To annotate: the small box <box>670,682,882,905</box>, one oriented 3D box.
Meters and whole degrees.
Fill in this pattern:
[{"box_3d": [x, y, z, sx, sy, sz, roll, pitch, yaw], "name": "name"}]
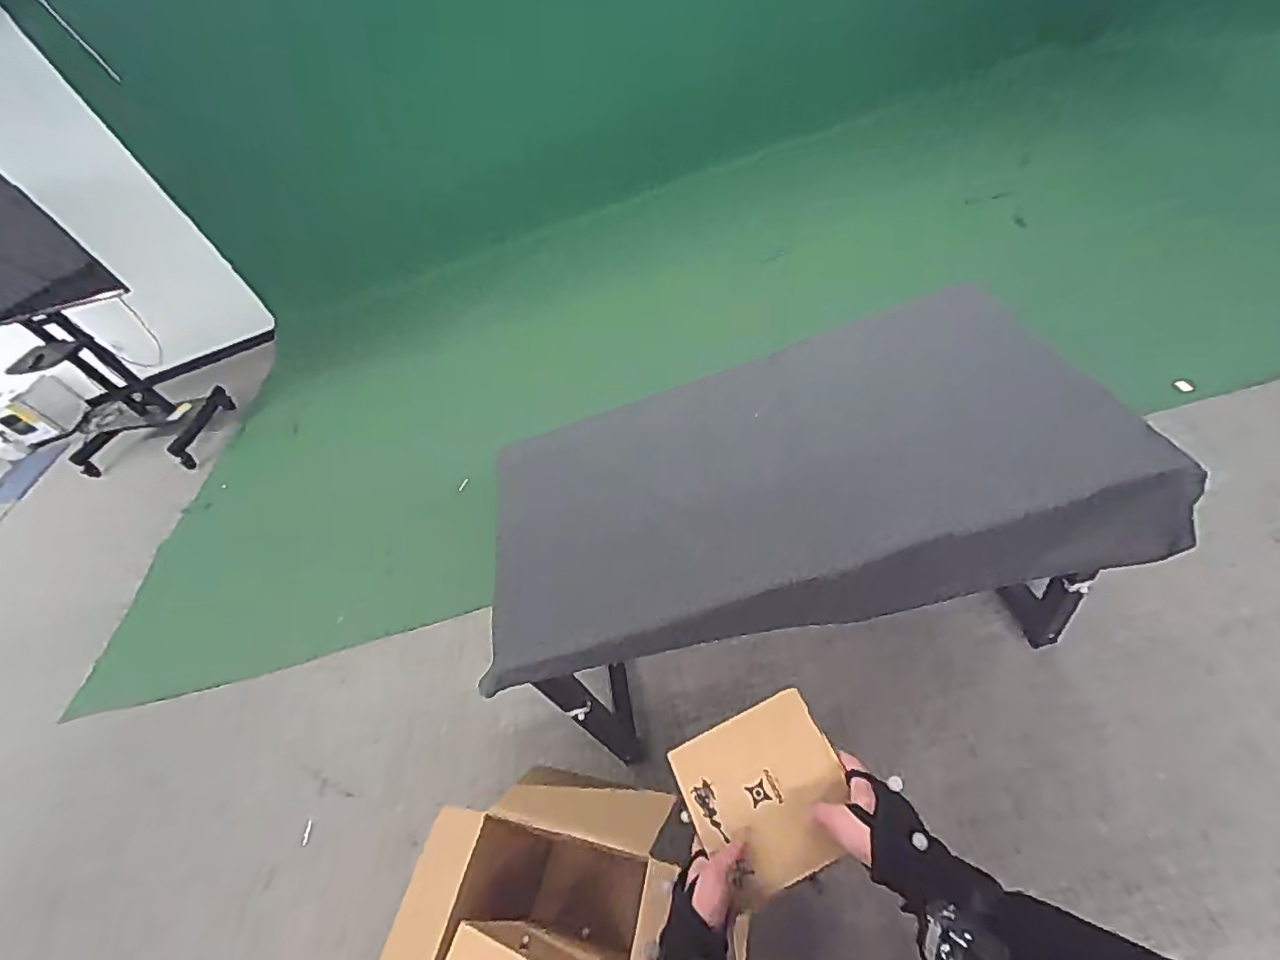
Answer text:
[{"box_3d": [0.158, 0.376, 0.652, 0.179, 0.176, 0.168, -26, 50, -2], "name": "small box"}]
